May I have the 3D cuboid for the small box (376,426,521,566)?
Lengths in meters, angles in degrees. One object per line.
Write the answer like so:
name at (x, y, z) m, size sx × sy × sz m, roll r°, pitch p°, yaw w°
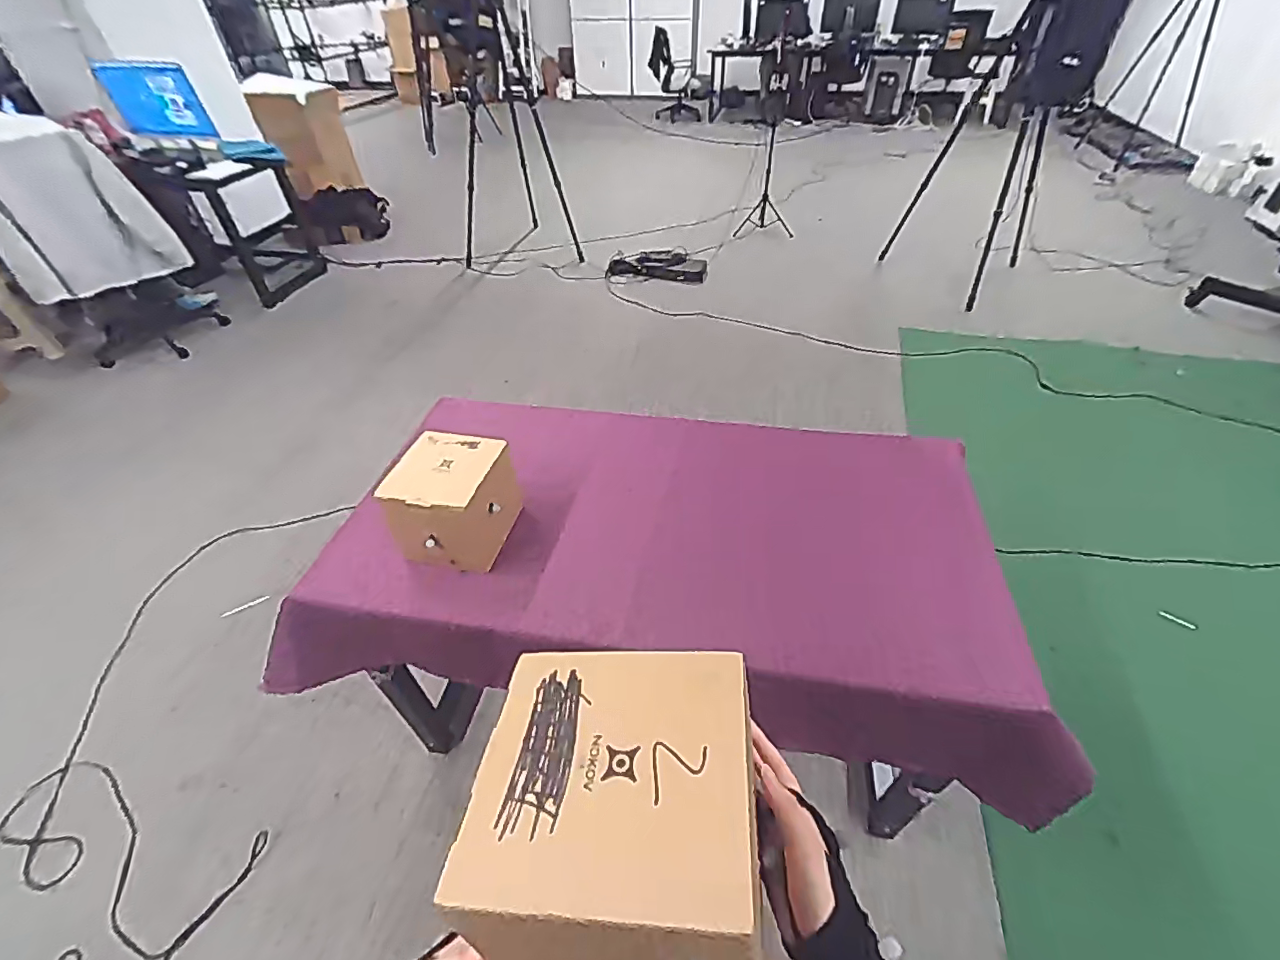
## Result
small box at (-0.328, 0.030, 0.972) m, size 0.168 × 0.176 × 0.179 m, roll 9°, pitch 45°, yaw 10°
